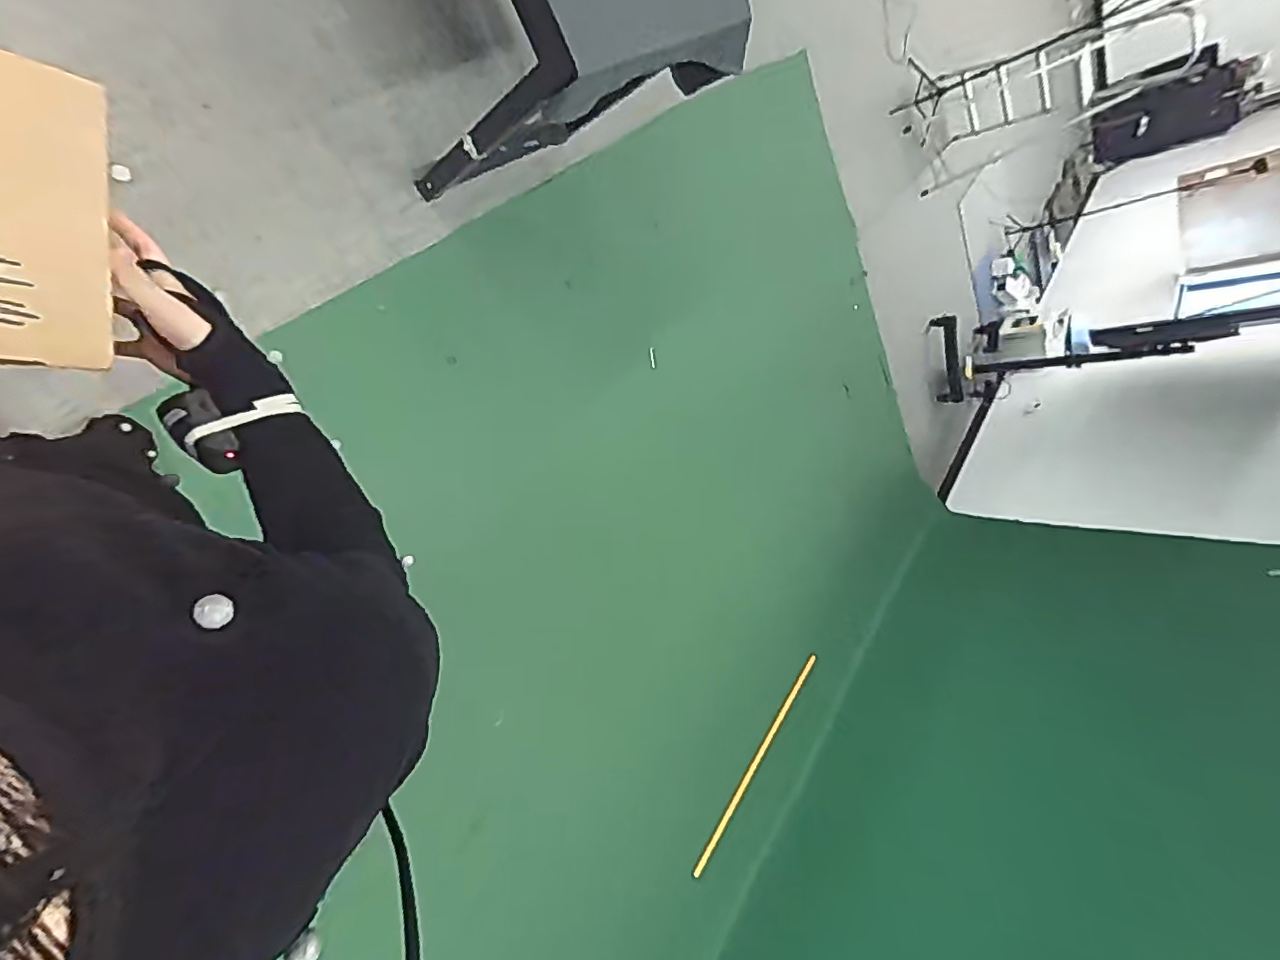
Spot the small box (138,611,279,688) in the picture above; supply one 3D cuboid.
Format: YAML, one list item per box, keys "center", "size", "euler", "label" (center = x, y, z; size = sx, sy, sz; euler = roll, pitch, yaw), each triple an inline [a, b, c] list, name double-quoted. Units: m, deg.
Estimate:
- center: [-0.936, 0.406, 1.172]
  size: [0.168, 0.176, 0.179]
  euler: [-46, 123, -30]
  label: "small box"
